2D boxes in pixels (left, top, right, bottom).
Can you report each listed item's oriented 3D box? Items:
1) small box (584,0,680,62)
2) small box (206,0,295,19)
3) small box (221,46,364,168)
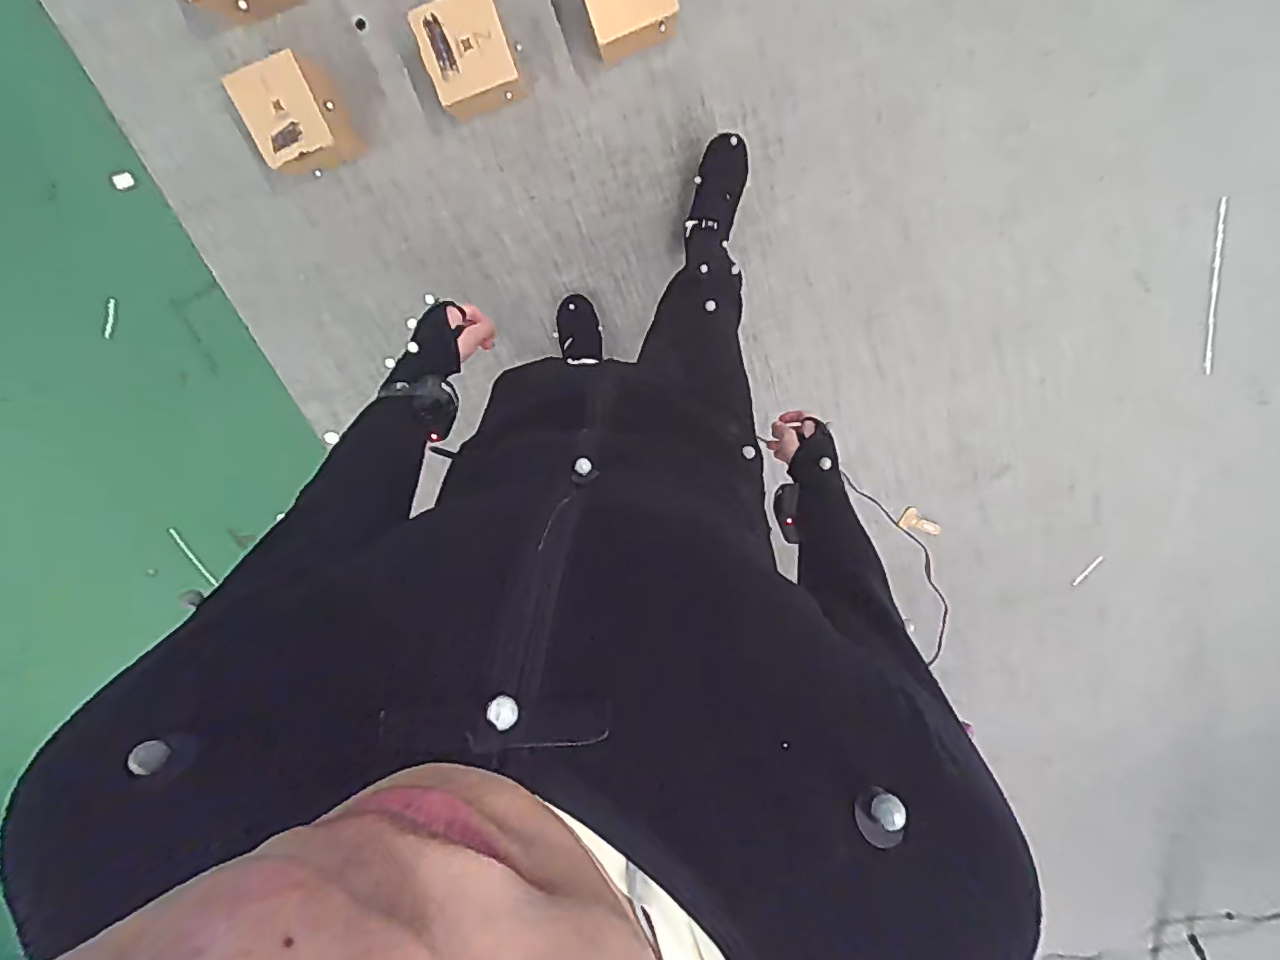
[{"bbox_3d":[-0.027,-1.004,1.112,0.179,0.176,0.168,-19,114,8],"label":"small box"},{"bbox_3d":[-0.823,-1.065,1.076,0.179,0.176,0.168,-14,115,7],"label":"small box"},{"bbox_3d":[-0.755,-0.811,1.199,0.168,0.176,0.179,-16,114,7],"label":"small box"}]
